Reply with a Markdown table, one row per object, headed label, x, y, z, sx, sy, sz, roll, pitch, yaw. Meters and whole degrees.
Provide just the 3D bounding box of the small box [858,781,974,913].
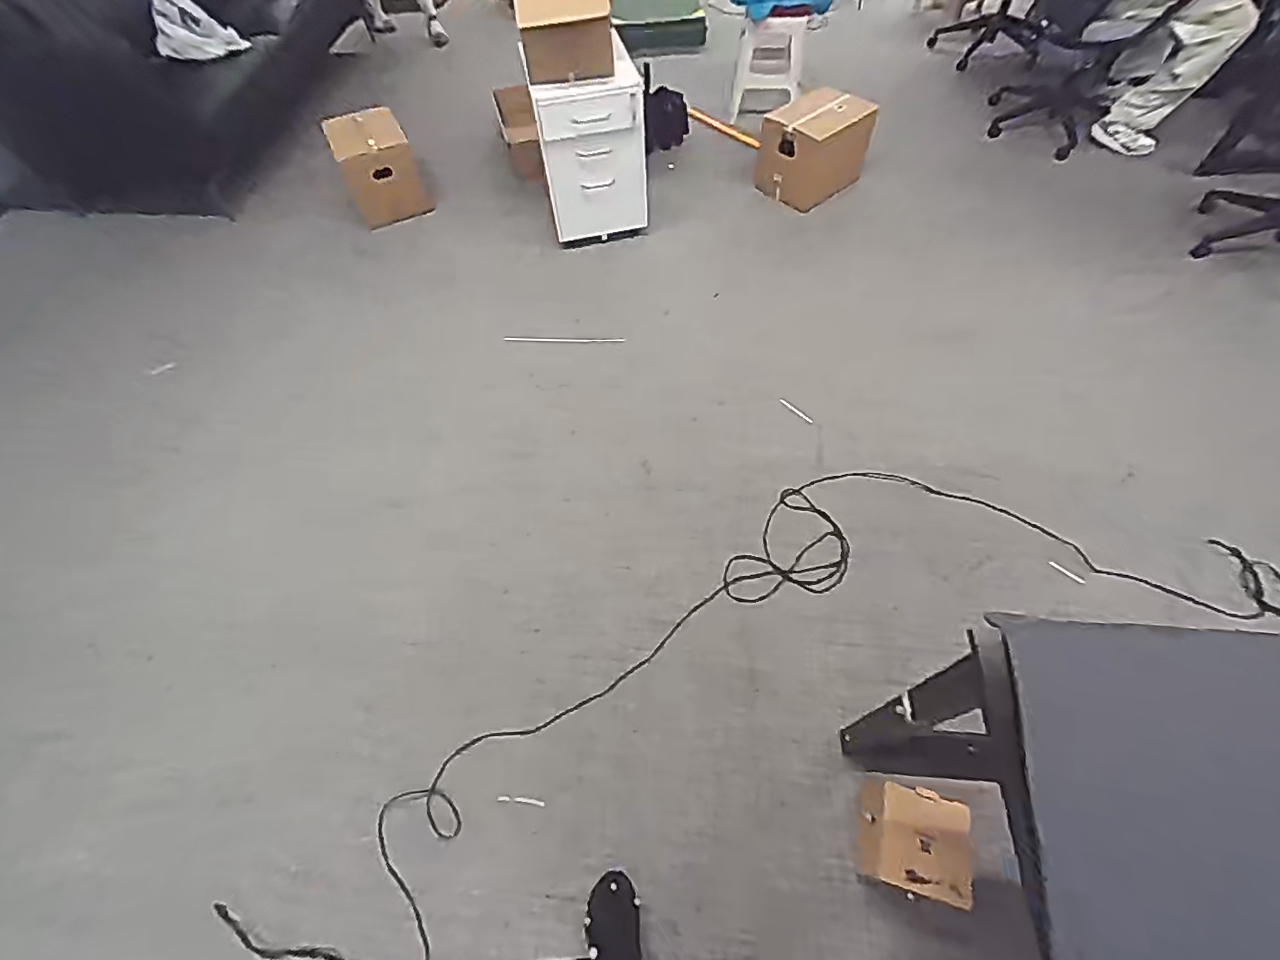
| label | x | y | z | sx | sy | sz | roll | pitch | yaw |
| --- | --- | --- | --- | --- | --- | --- | --- | --- | --- |
| small box | 0.558 | 0.747 | 1.111 | 0.168 | 0.176 | 0.179 | 13 | 58 | 12 |
